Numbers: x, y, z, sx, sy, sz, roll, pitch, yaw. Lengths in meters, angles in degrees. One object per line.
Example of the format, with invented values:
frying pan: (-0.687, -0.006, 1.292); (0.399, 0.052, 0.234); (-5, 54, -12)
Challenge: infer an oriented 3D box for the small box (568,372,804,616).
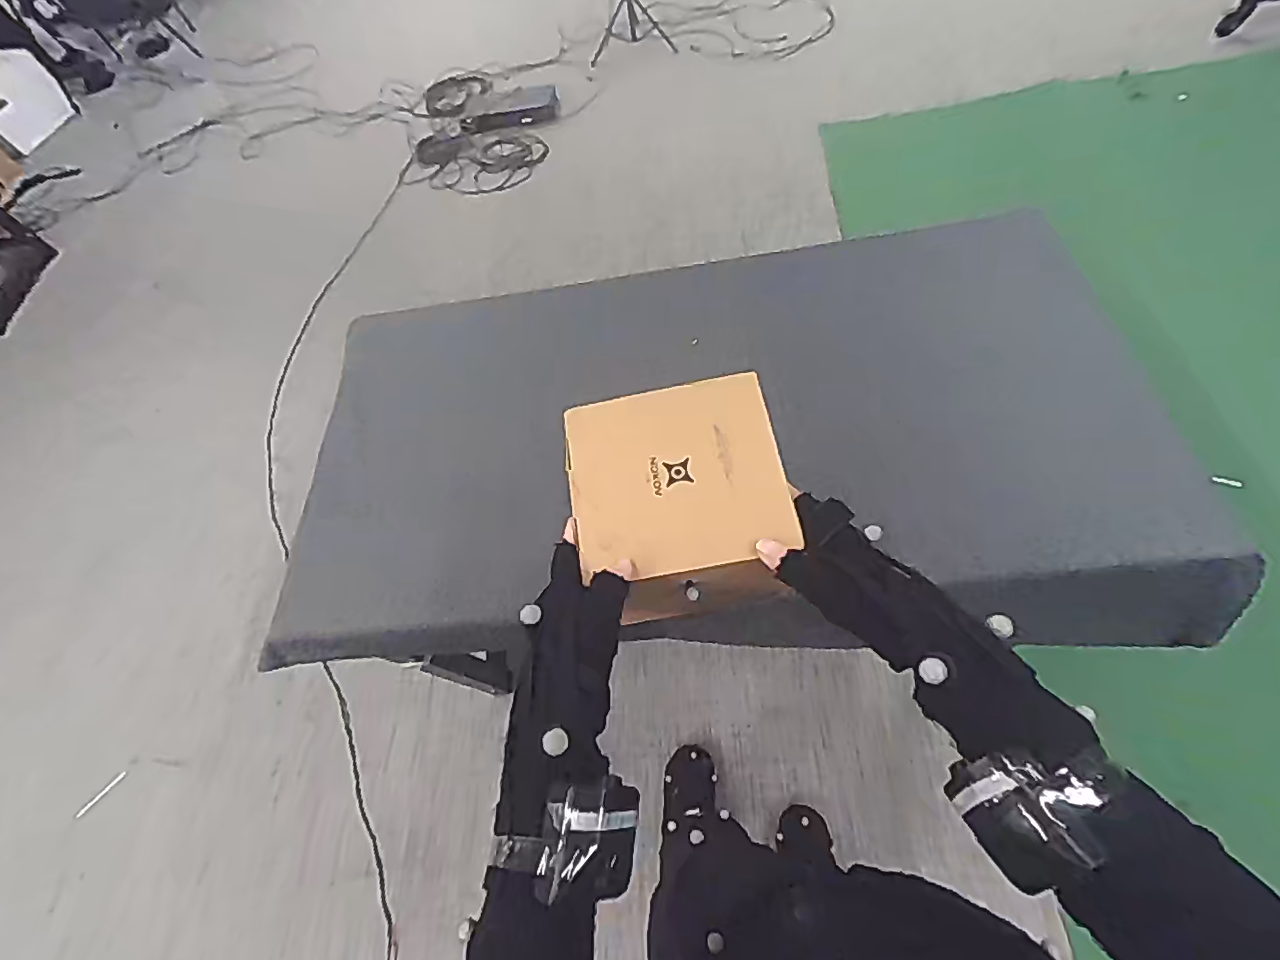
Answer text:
small box: (0.041, 0.025, 0.522); (0.179, 0.176, 0.168); (-11, 65, 2)
